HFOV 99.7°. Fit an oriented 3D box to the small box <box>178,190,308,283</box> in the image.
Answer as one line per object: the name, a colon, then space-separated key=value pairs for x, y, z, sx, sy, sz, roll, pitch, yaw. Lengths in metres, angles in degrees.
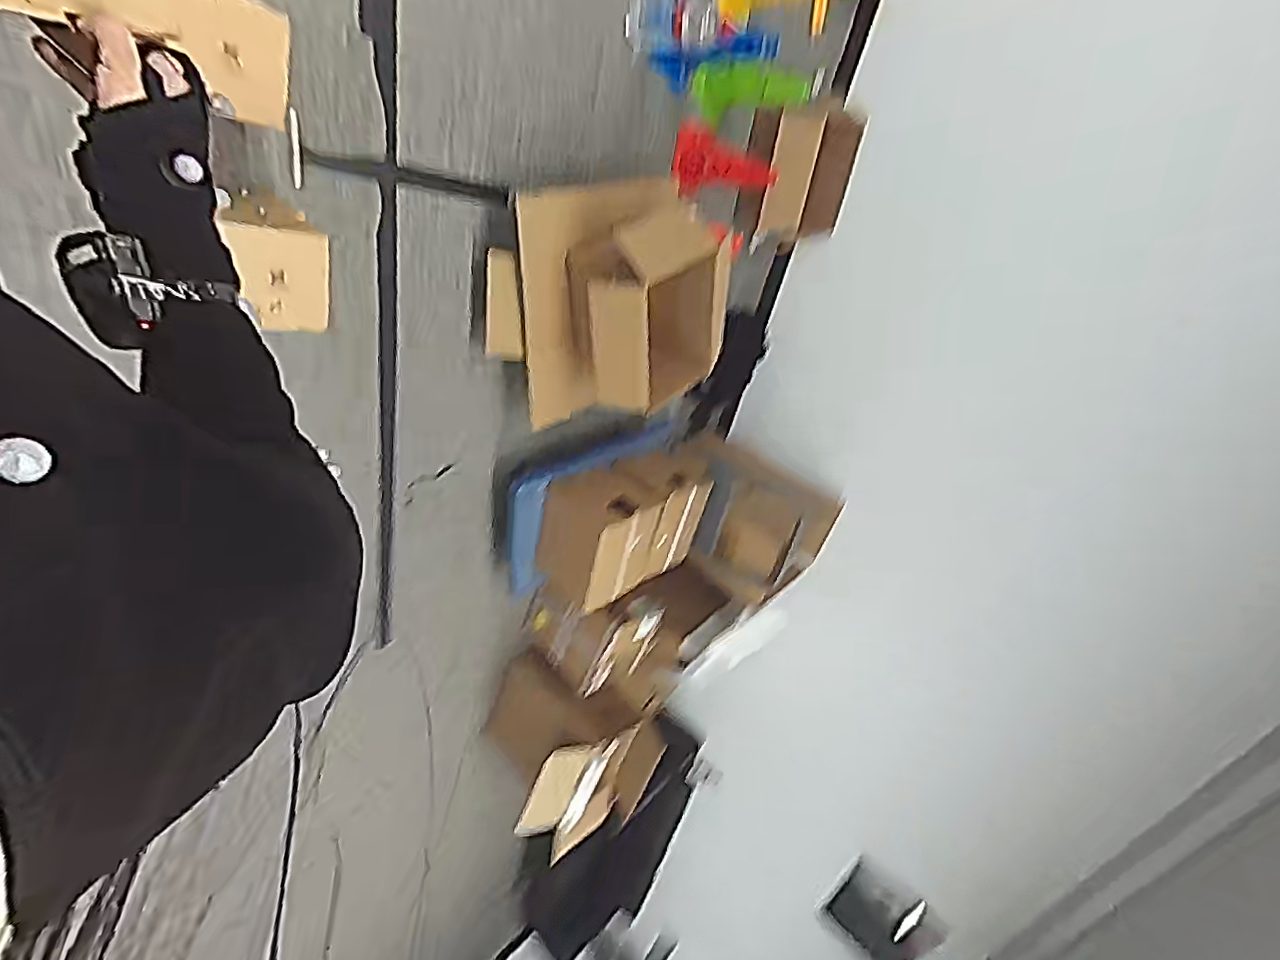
small box: x=-0.786 y=-0.463 z=1.076 sx=0.179 sy=0.176 sz=0.168 roll=-18 pitch=134 yaw=-47

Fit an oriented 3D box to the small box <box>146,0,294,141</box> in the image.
small box: x=-0.720 y=-0.719 z=0.926 sx=0.168 sy=0.176 sz=0.179 roll=-11 pitch=128 yaw=-50

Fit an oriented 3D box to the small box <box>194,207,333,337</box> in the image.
small box: x=-0.682 y=-0.375 z=0.982 sx=0.168 sy=0.176 sz=0.179 roll=-15 pitch=132 yaw=-47
